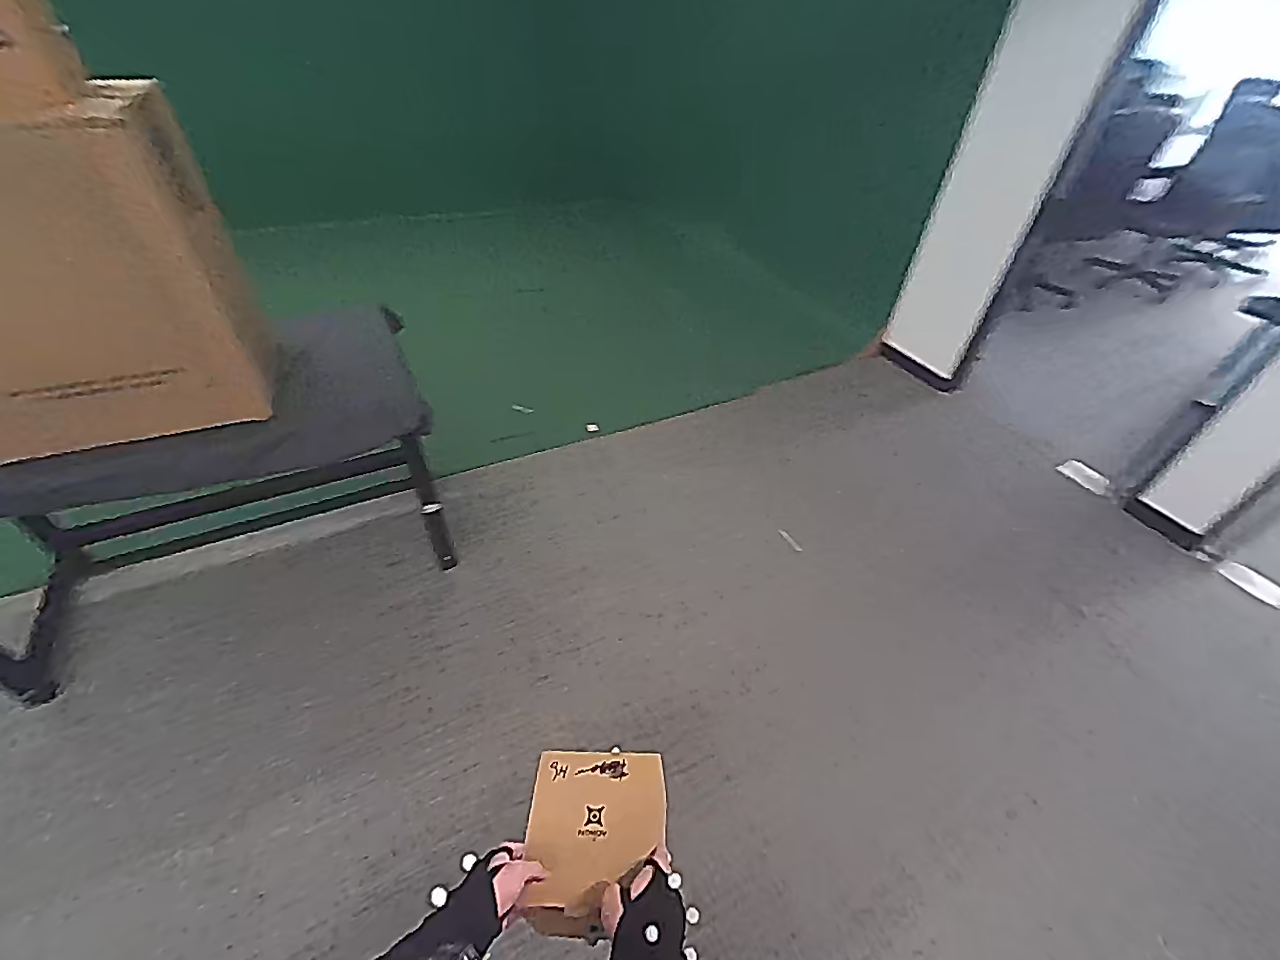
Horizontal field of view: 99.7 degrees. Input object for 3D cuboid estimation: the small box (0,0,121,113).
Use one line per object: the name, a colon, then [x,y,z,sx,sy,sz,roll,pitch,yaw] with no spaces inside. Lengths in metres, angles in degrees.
small box: [-1.049,-0.744,0.921,0.179,0.176,0.168,-15,48,-18]

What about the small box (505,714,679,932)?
small box: [-0.060,0.468,0.739,0.179,0.176,0.168,-23,43,-17]
